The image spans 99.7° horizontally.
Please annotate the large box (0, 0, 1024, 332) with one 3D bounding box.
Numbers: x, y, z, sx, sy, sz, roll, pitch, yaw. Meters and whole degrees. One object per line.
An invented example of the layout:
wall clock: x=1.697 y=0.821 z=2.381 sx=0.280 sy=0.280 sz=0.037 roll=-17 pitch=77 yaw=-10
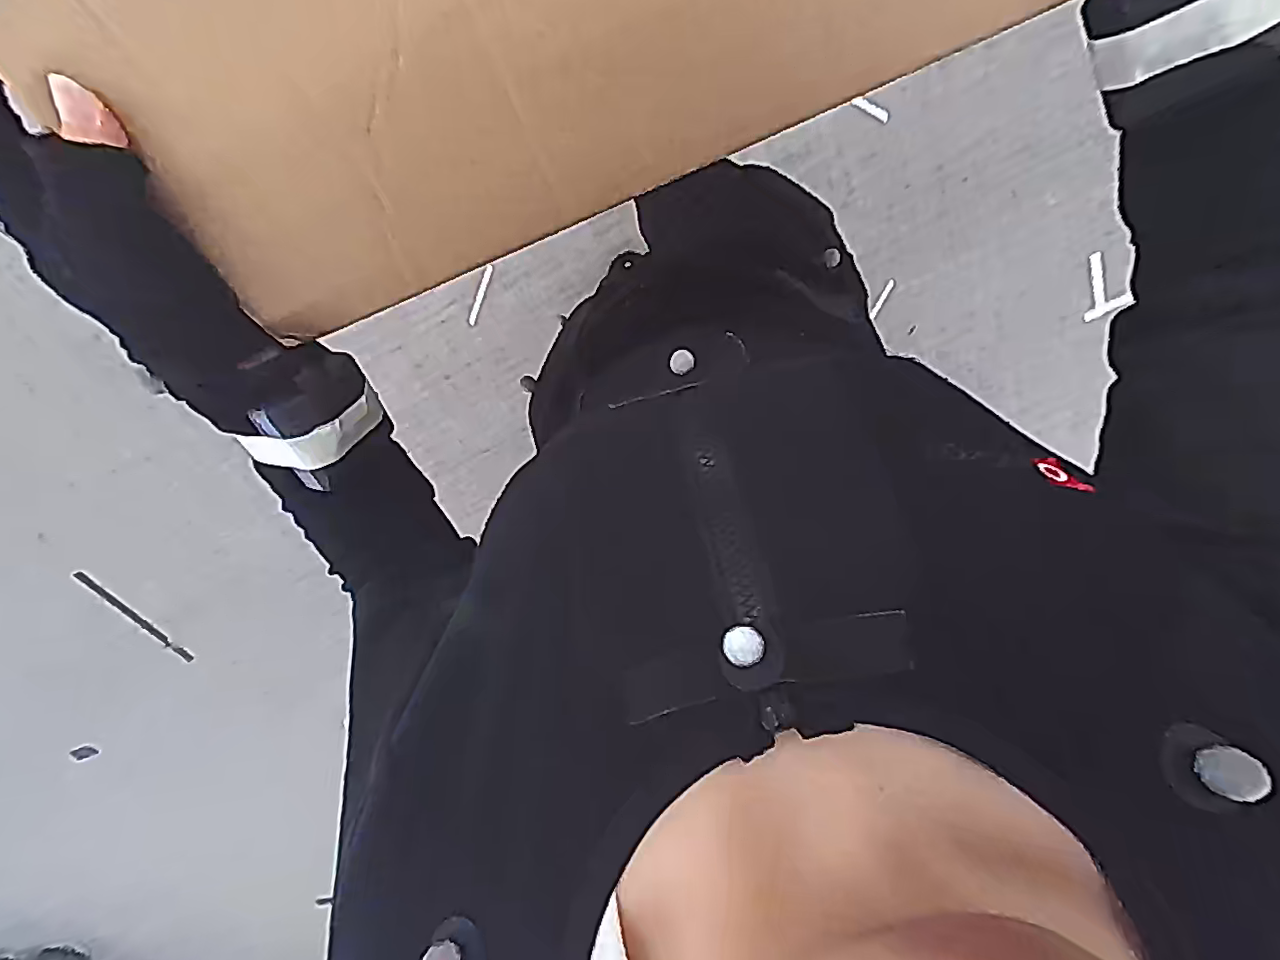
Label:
large box: x=-0.074 y=-0.344 z=0.249 sx=0.408 sy=0.320 sz=0.320 roll=-19 pitch=136 yaw=10
